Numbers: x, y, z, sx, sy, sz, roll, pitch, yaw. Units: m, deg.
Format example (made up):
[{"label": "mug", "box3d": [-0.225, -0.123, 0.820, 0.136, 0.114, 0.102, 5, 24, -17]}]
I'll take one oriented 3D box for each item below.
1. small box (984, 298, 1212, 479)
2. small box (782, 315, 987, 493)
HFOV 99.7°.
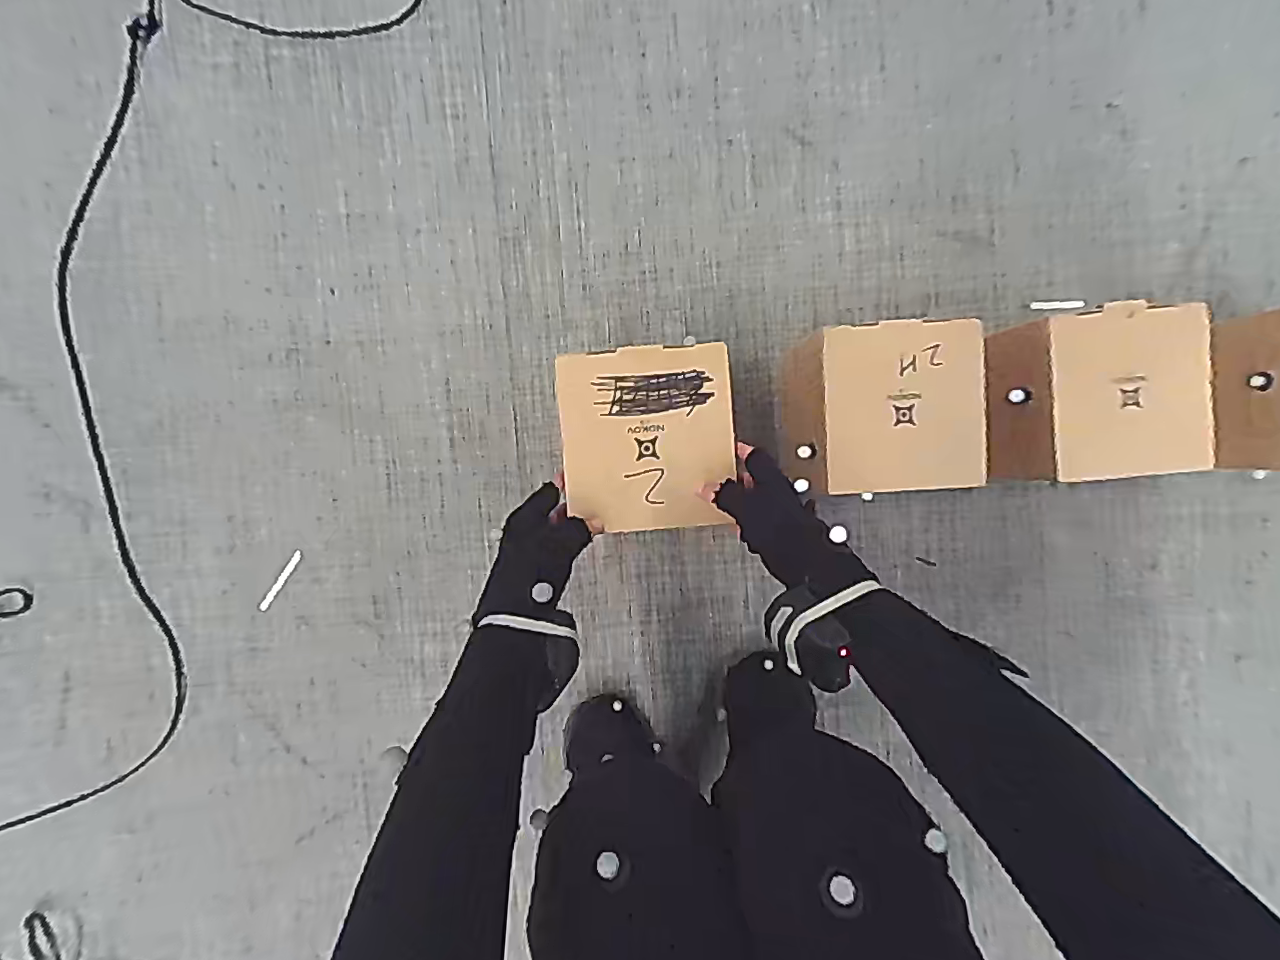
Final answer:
[{"label": "small box", "box3d": [0.502, -0.098, 0.636, 0.168, 0.176, 0.179, -5, 92, 0]}, {"label": "small box", "box3d": [0.271, -0.081, 0.632, 0.168, 0.176, 0.179, -4, 92, -1]}]
